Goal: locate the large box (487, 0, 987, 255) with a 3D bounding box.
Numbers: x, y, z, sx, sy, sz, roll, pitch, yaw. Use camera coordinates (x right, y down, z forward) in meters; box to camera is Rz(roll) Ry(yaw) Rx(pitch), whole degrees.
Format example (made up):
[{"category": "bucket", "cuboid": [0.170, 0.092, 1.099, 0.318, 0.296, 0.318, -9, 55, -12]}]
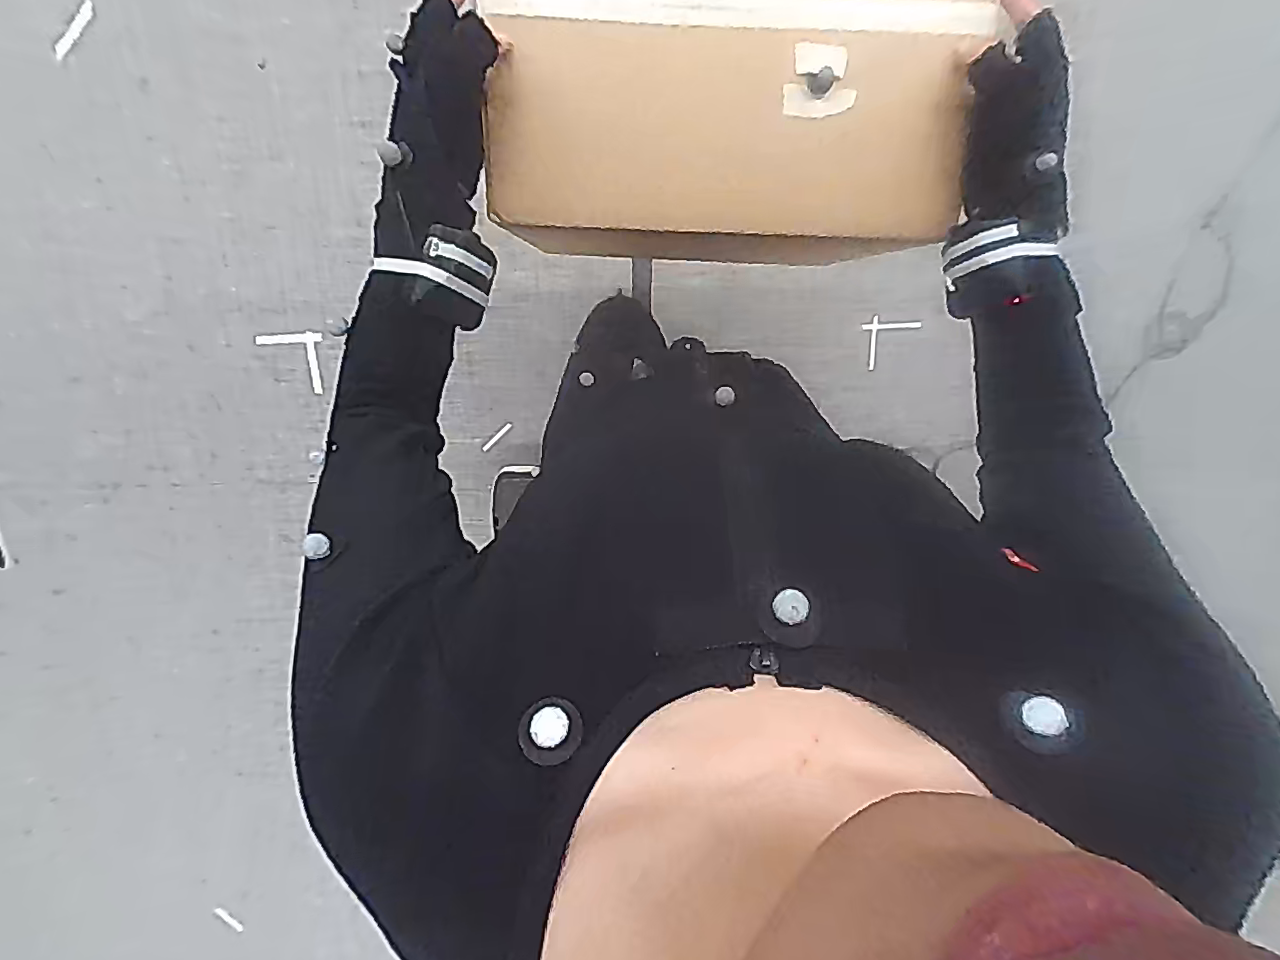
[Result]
[{"category": "large box", "cuboid": [0.070, -0.417, 0.567, 0.408, 0.320, 0.320, 1, 108, -3]}]
